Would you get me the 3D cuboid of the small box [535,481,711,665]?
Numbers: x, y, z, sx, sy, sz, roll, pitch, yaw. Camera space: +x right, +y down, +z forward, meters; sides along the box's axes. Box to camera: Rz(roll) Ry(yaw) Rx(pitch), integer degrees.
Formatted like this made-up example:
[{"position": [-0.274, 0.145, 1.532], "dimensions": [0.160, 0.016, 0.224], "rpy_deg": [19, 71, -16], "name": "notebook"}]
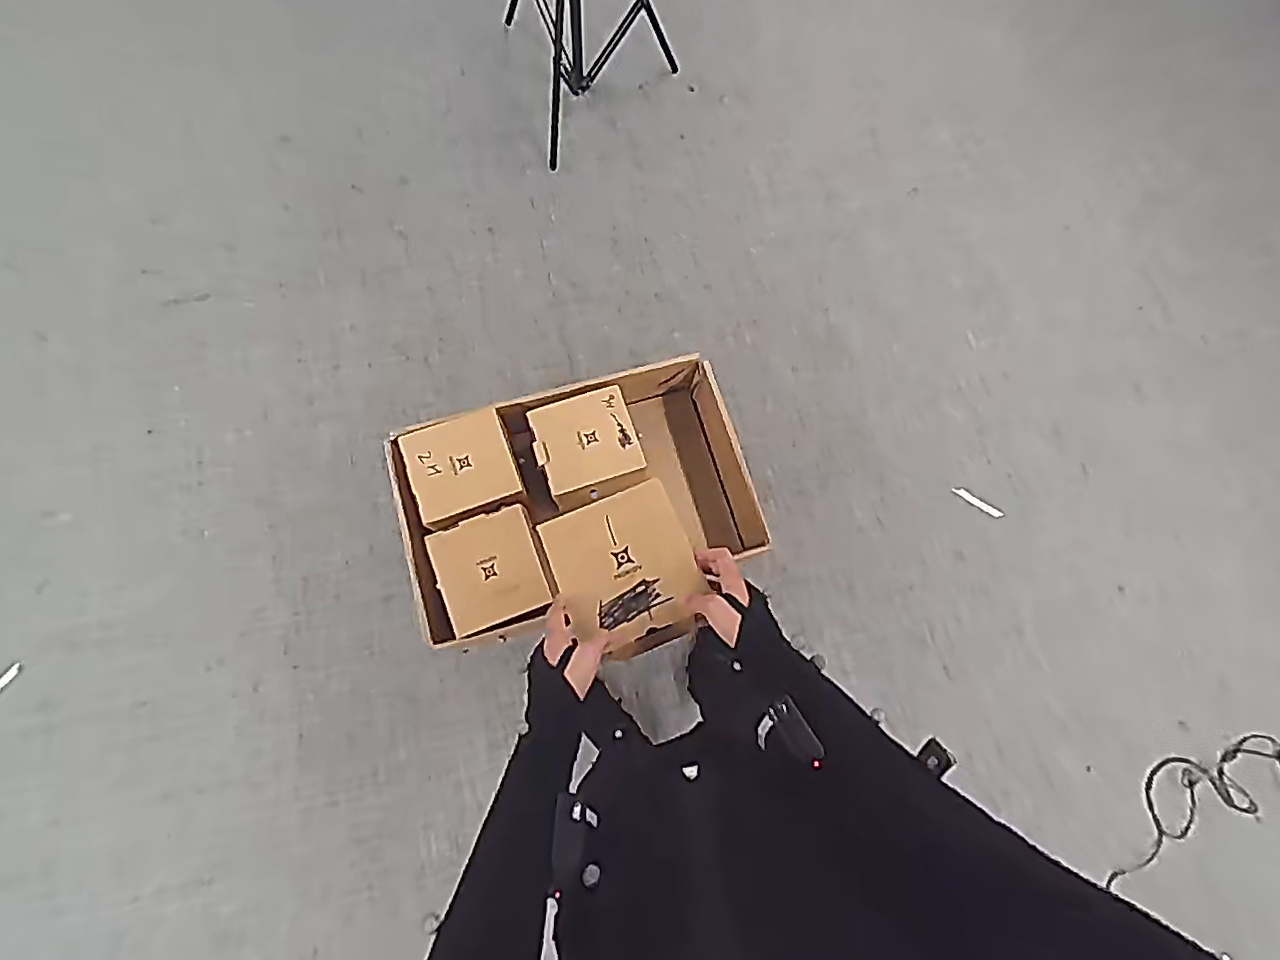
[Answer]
[{"position": [-0.019, 0.130, 0.715], "dimensions": [0.168, 0.176, 0.179], "rpy_deg": [-22, 70, -6], "name": "small box"}]
